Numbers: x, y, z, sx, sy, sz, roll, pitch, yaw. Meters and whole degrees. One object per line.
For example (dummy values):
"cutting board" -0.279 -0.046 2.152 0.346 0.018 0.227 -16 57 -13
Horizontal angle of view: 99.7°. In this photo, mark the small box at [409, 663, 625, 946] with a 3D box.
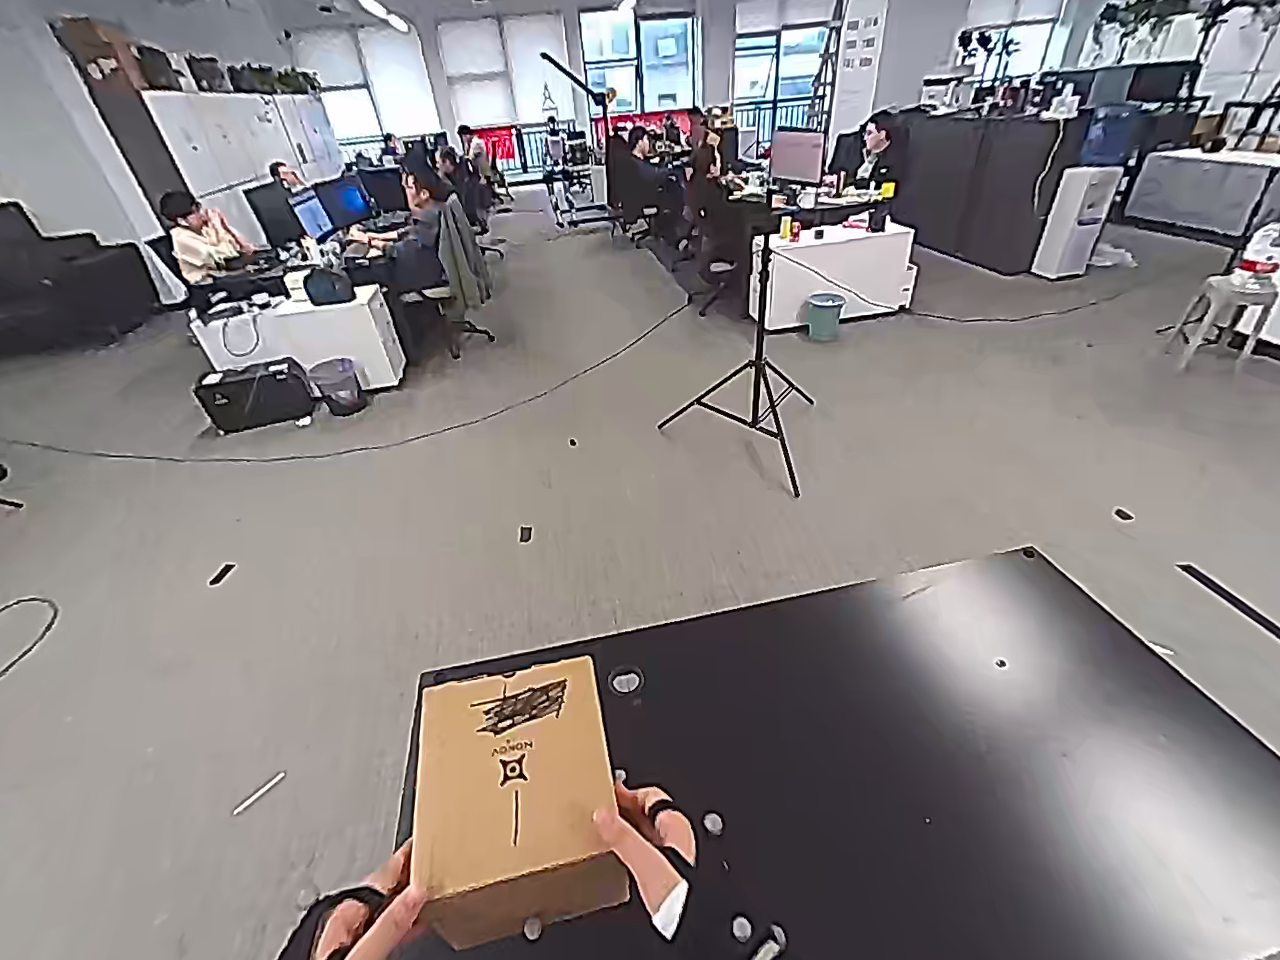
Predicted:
"small box" -0.111 0.311 0.527 0.168 0.176 0.179 -8 43 -10
